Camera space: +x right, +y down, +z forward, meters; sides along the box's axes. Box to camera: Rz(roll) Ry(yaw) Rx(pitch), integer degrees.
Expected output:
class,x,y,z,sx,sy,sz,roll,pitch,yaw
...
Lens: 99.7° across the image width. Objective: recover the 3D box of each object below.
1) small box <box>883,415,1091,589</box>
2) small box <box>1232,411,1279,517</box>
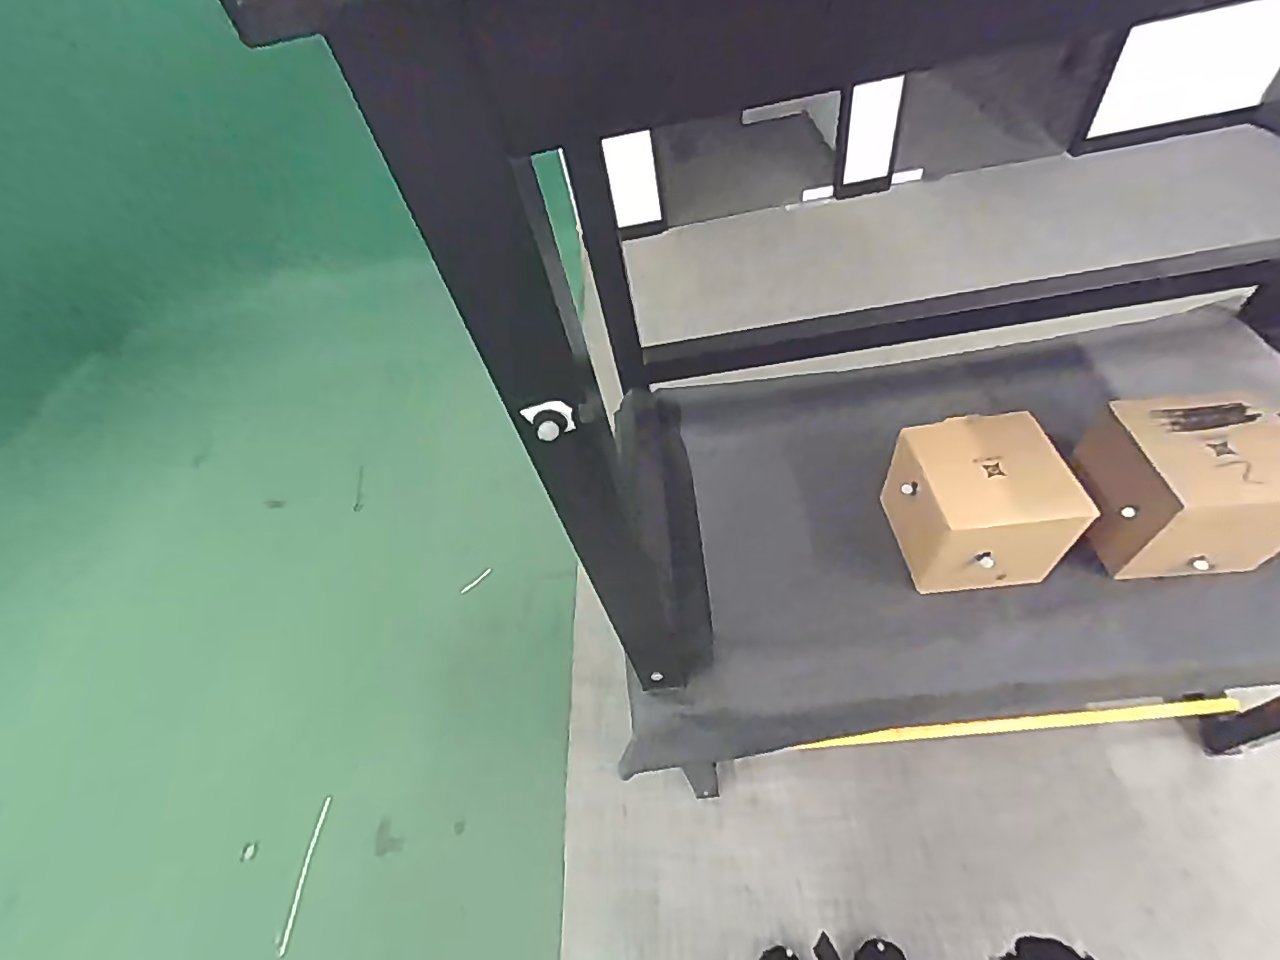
class,x,y,z,sx,sy,sz,roll,pitch,yaw
small box,0.456,0.039,0.747,0.168,0.176,0.179,-8,50,6
small box,0.941,-0.019,0.680,0.168,0.176,0.179,-8,49,6
